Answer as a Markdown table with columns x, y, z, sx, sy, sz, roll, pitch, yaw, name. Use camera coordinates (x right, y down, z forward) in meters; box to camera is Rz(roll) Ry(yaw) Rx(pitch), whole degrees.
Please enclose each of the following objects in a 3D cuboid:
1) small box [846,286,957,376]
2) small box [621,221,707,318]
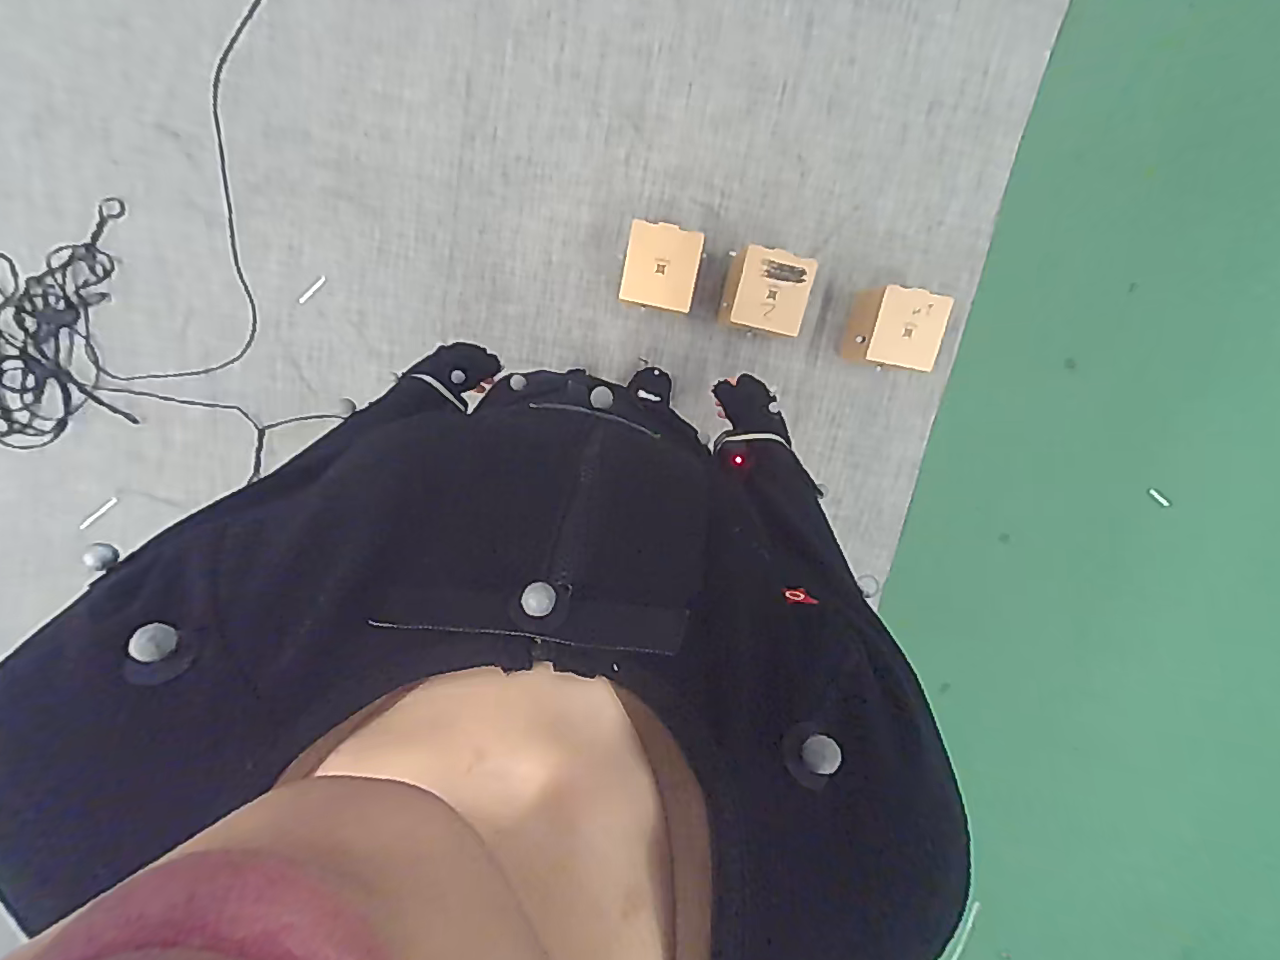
| x | y | z | sx | sy | sz | roll | pitch | yaw | name |
| --- | --- | --- | --- | --- | --- | --- | --- | --- | --- |
| 0.628 | -0.361 | 1.326 | 0.168 | 0.176 | 0.179 | 11 | 103 | -4 | small box |
| 0.053 | -0.490 | 1.287 | 0.168 | 0.176 | 0.179 | 11 | 102 | -3 | small box |
